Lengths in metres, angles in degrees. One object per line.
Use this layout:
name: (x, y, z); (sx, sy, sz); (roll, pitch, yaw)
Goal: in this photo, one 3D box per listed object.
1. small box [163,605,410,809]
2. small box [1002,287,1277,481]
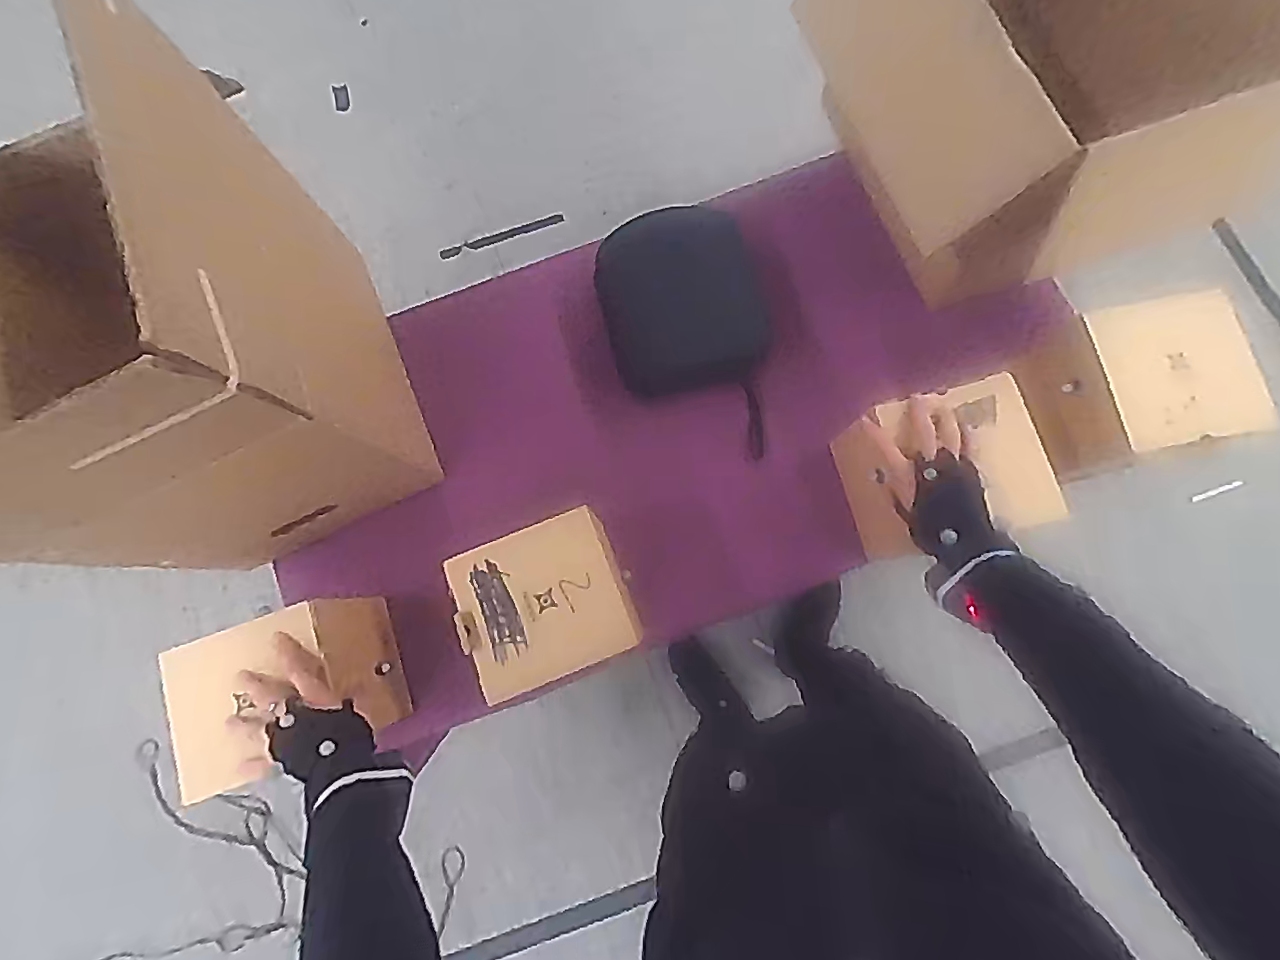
small box: (-0.416, 0.260, 0.661); (0.179, 0.176, 0.168); (-20, 78, -3)
small box: (0.603, -0.111, 0.685); (0.168, 0.176, 0.179); (-10, 78, 2)
